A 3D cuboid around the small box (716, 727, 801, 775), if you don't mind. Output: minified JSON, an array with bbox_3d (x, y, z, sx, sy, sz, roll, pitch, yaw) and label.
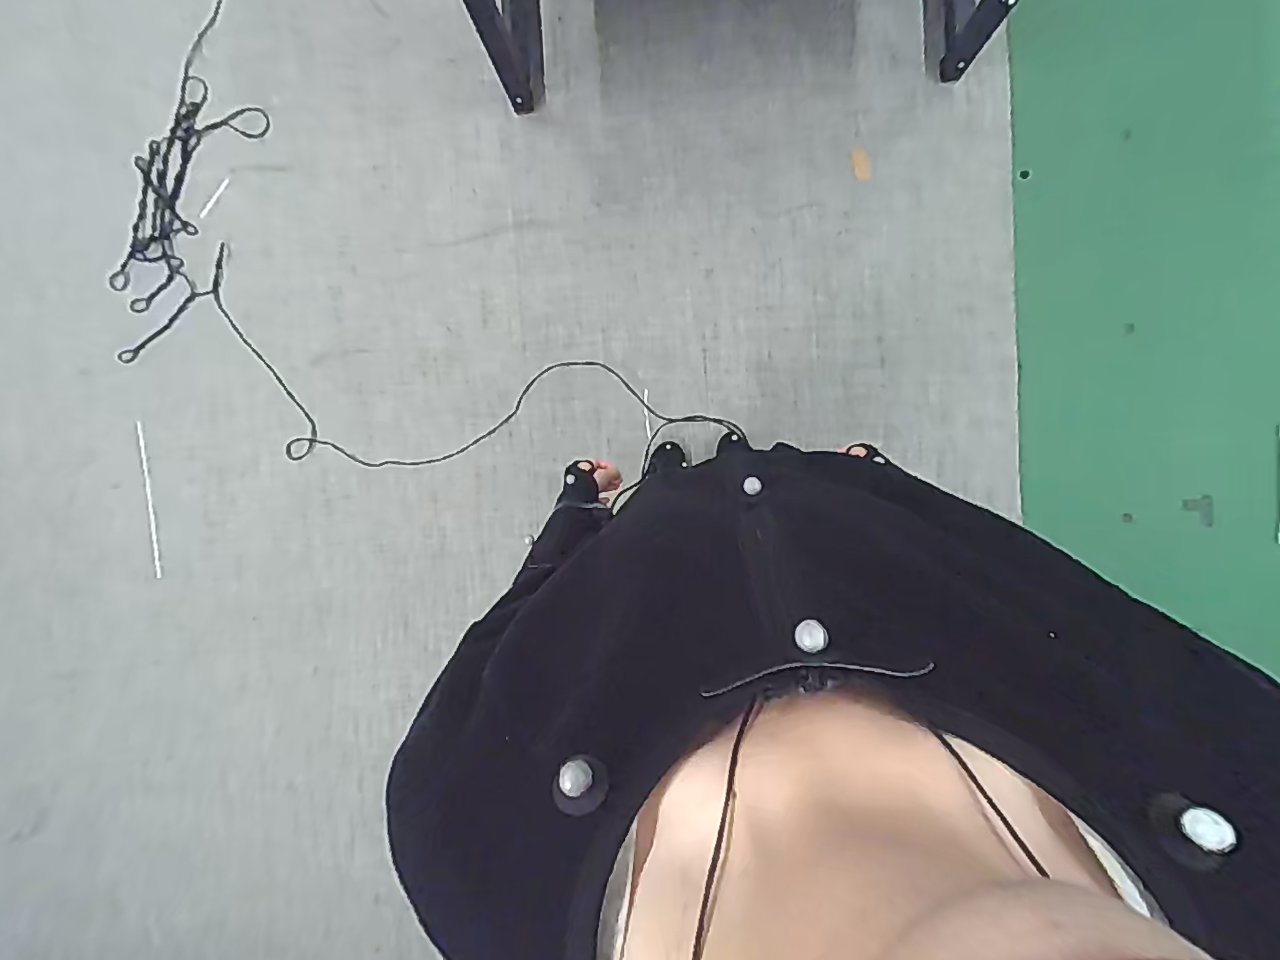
[{"bbox_3d":[0.272,0.686,1.242,0.179,0.176,0.168,-7,90,7],"label":"small box"}]

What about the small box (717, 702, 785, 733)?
[{"bbox_3d":[0.293,0.693,1.404,0.168,0.176,0.179,-8,91,7],"label":"small box"}]
